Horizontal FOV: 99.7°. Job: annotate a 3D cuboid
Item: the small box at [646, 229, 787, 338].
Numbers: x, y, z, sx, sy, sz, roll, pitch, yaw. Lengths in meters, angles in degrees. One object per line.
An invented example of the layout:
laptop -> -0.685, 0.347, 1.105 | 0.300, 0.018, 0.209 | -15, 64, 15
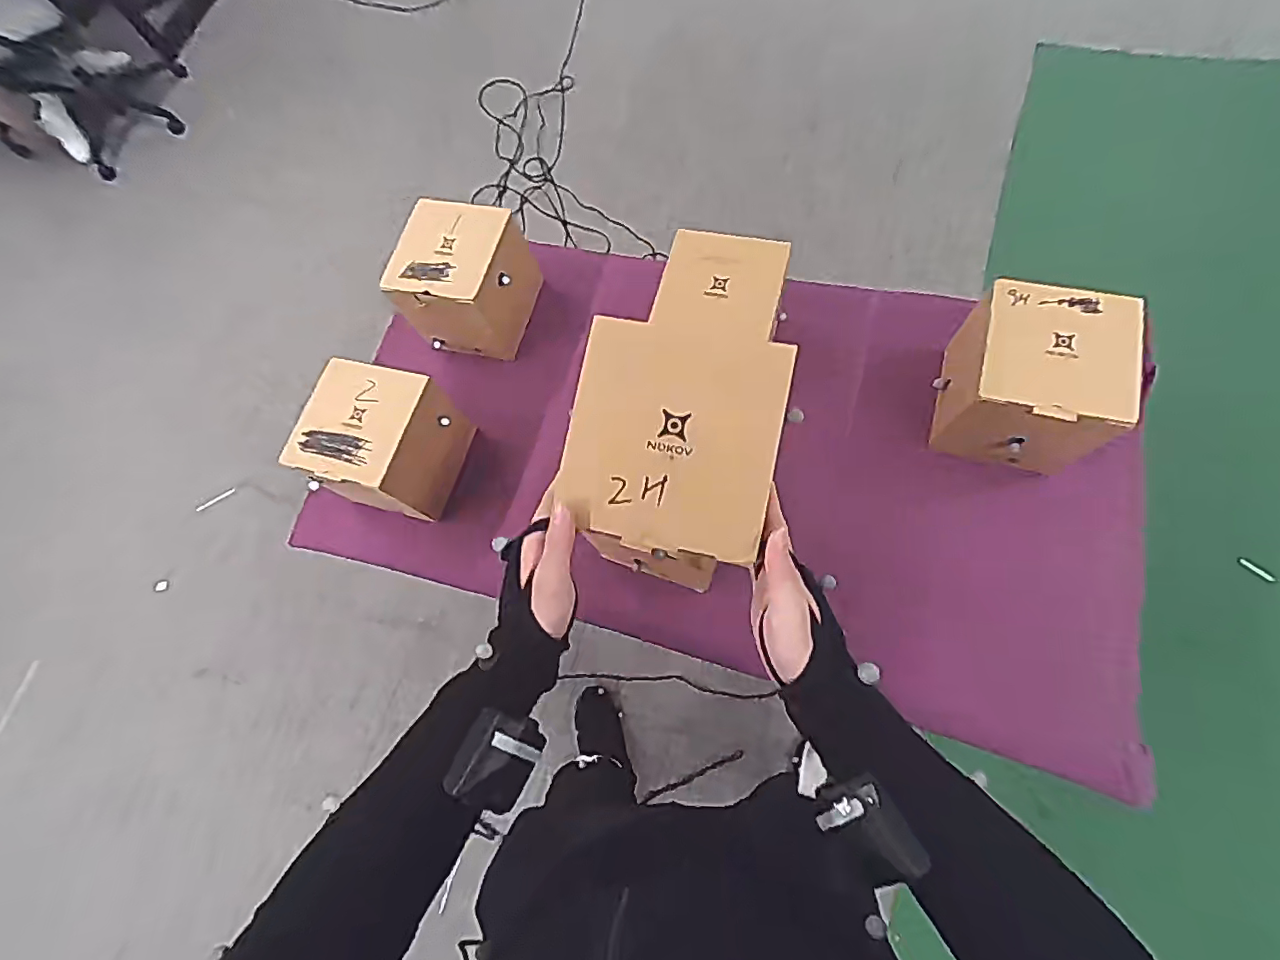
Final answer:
small box -> 0.115, -0.240, 0.815 | 0.168, 0.176, 0.179 | 13, 74, 12

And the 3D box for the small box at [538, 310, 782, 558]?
small box -> 0.025, -0.032, 0.503 | 0.168, 0.176, 0.179 | 11, 86, 10

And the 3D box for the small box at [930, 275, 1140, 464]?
small box -> 0.507, -0.137, 0.717 | 0.168, 0.176, 0.179 | 14, 75, 13

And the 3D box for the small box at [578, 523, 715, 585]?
small box -> 0.035, 0.027, 0.737 | 0.168, 0.176, 0.179 | 17, 74, 13

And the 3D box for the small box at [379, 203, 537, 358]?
small box -> -0.290, -0.326, 0.905 | 0.168, 0.176, 0.179 | 12, 73, 12
